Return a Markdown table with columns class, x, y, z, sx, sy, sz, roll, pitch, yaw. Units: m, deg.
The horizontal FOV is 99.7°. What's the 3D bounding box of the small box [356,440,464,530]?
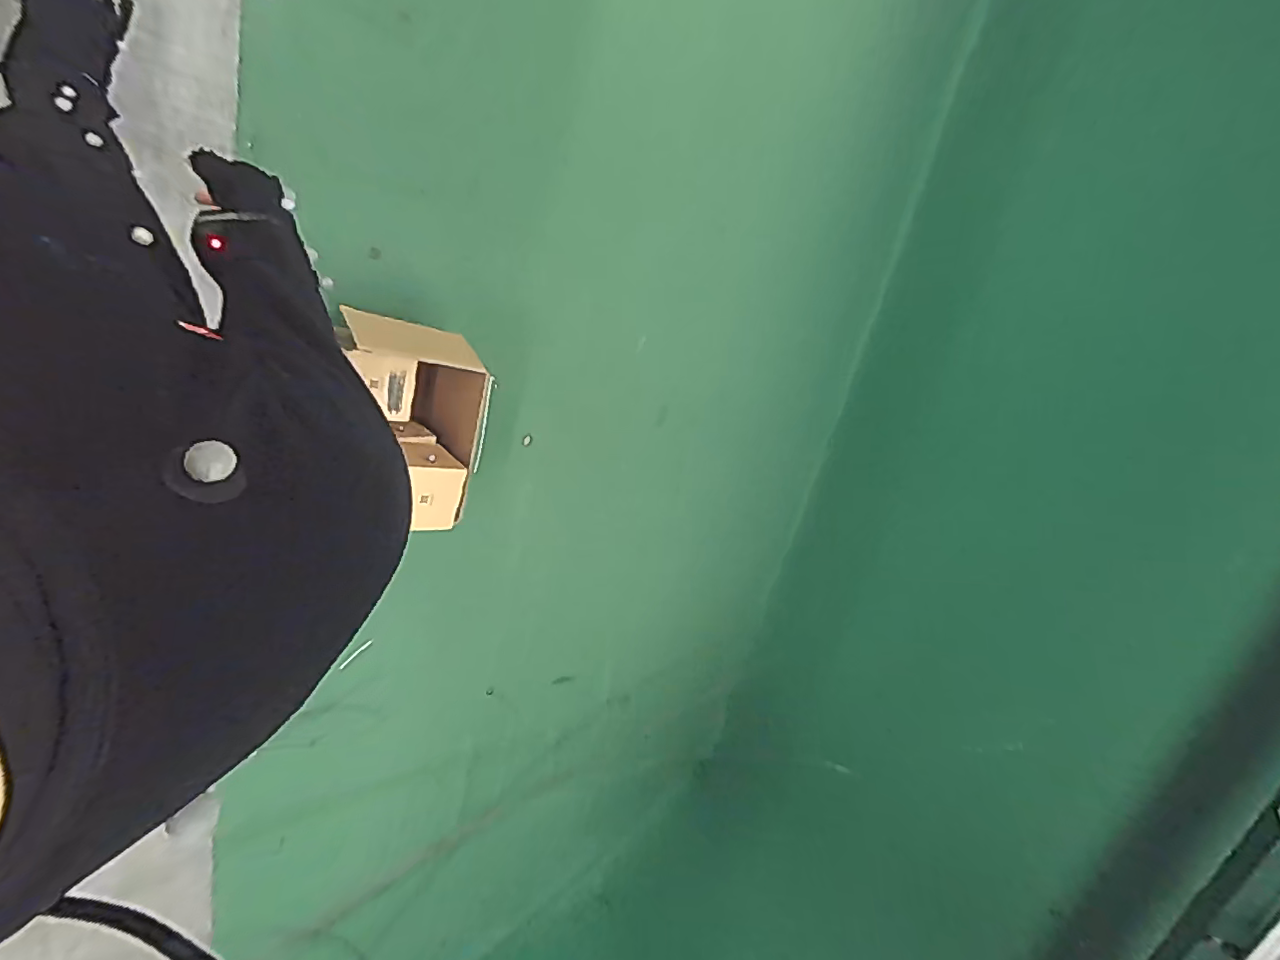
| class | x | y | z | sx | sy | sz | roll | pitch | yaw |
| --- | --- | --- | --- | --- | --- | --- | --- | --- | --- |
| small box | -0.565 | 0.010 | 1.317 | 0.179 | 0.176 | 0.168 | 3 | 112 | -49 |
